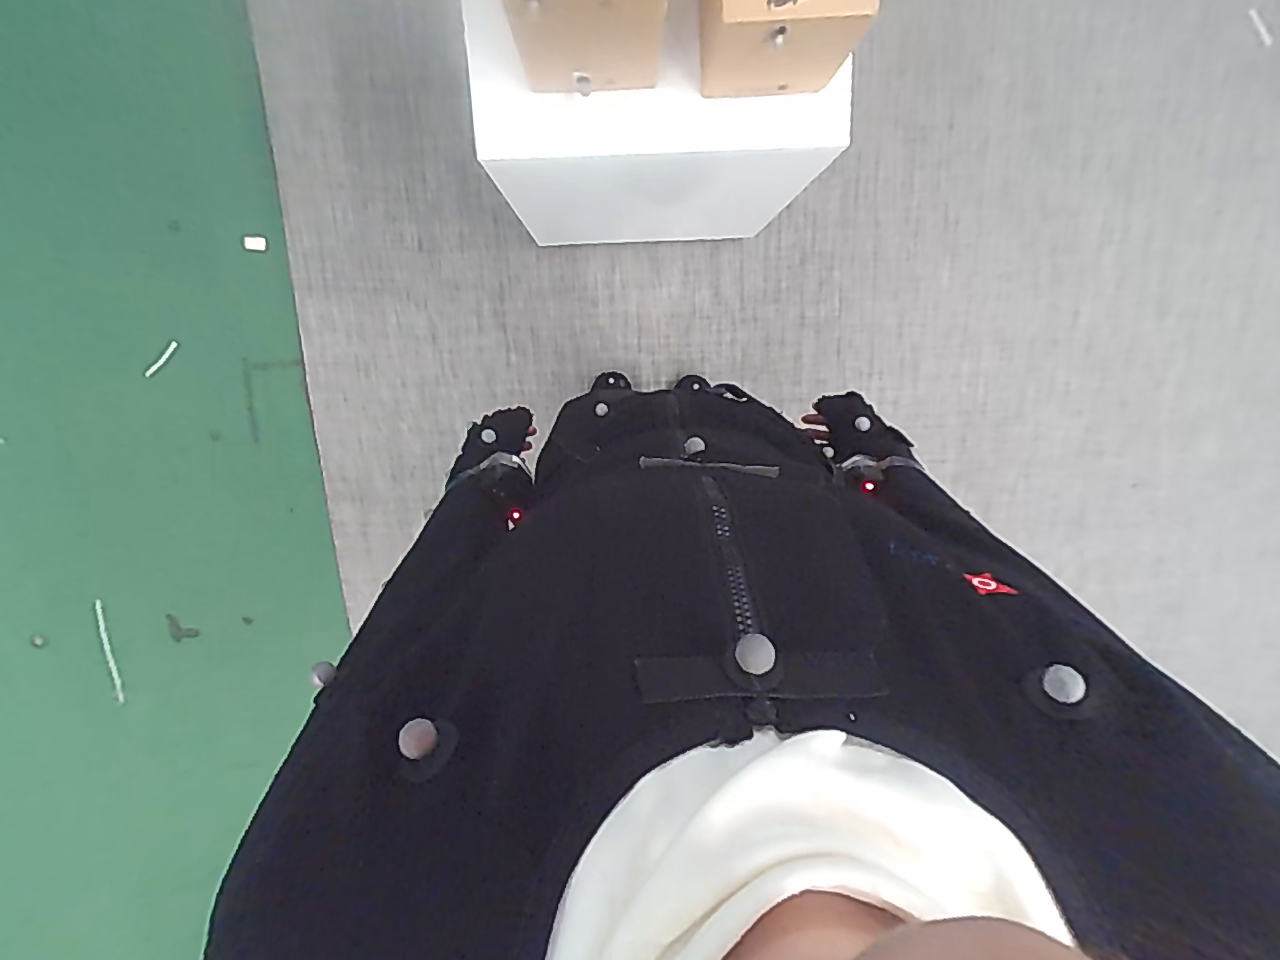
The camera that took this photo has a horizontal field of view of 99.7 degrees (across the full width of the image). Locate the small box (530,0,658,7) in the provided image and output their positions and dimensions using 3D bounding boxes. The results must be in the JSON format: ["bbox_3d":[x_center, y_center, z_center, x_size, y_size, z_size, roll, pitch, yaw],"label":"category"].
[{"bbox_3d":[-0.056,-0.553,0.464,0.168,0.176,0.179,-1,100,-1],"label":"small box"}]

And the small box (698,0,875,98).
[{"bbox_3d":[0.159,-0.583,0.628,0.168,0.176,0.179,-3,101,-1],"label":"small box"}]

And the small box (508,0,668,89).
[{"bbox_3d":[-0.061,-0.582,0.609,0.168,0.176,0.179,-5,103,0],"label":"small box"}]
